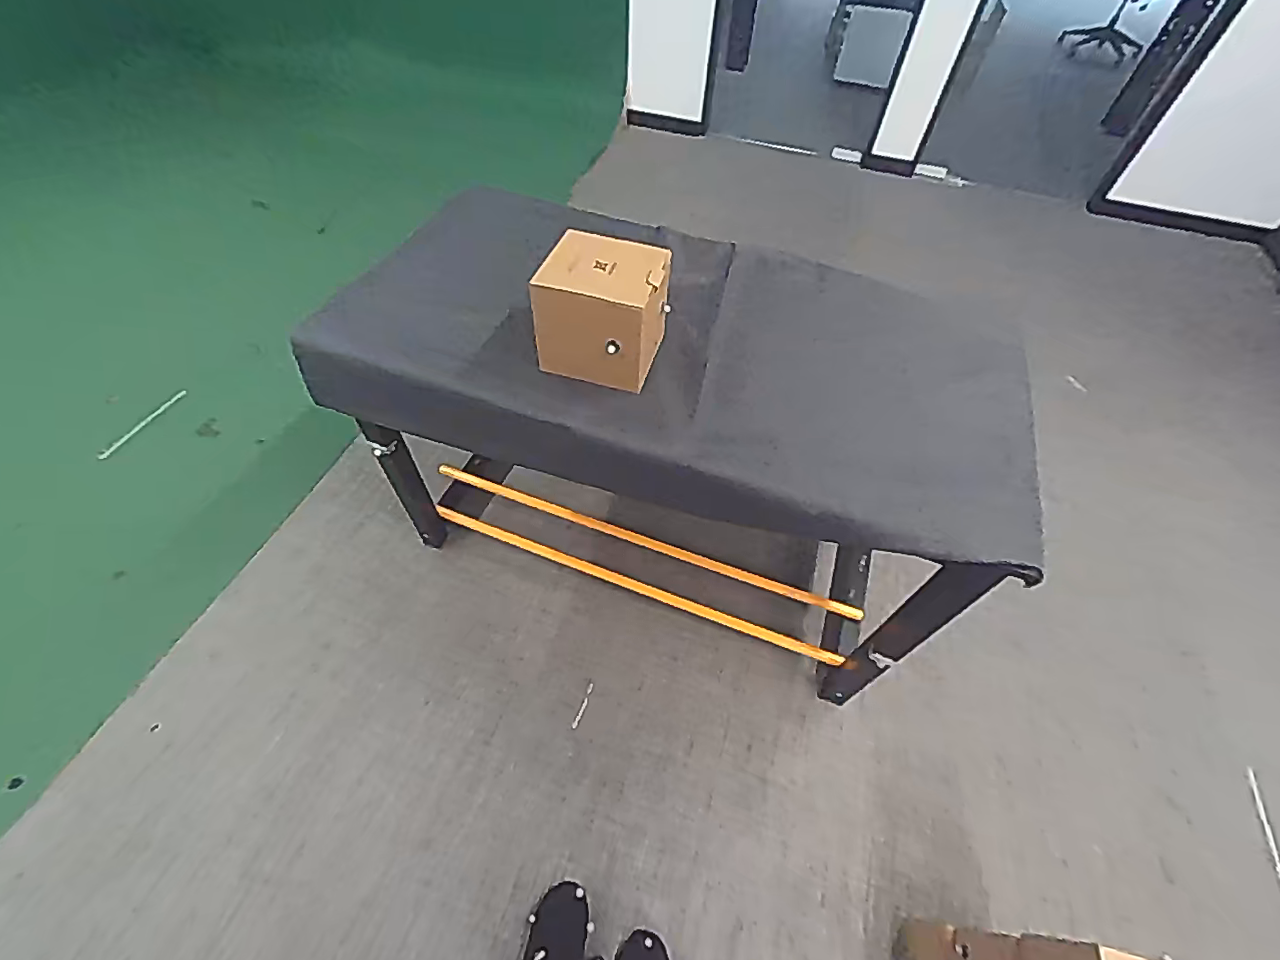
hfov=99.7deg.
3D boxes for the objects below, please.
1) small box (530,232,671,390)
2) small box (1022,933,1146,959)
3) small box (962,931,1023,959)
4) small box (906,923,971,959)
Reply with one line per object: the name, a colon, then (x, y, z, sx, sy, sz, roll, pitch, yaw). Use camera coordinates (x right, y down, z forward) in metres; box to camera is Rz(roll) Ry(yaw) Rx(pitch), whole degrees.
small box: (-0.058, -0.269, 0.878, 0.179, 0.176, 0.168, 14, 53, 8)
small box: (0.621, 0.710, 0.679, 0.168, 0.176, 0.179, 14, 55, 7)
small box: (0.610, 0.807, 0.811, 0.179, 0.176, 0.168, 14, 54, 6)
small box: (0.591, 0.901, 0.945, 0.179, 0.176, 0.168, 13, 53, 7)
